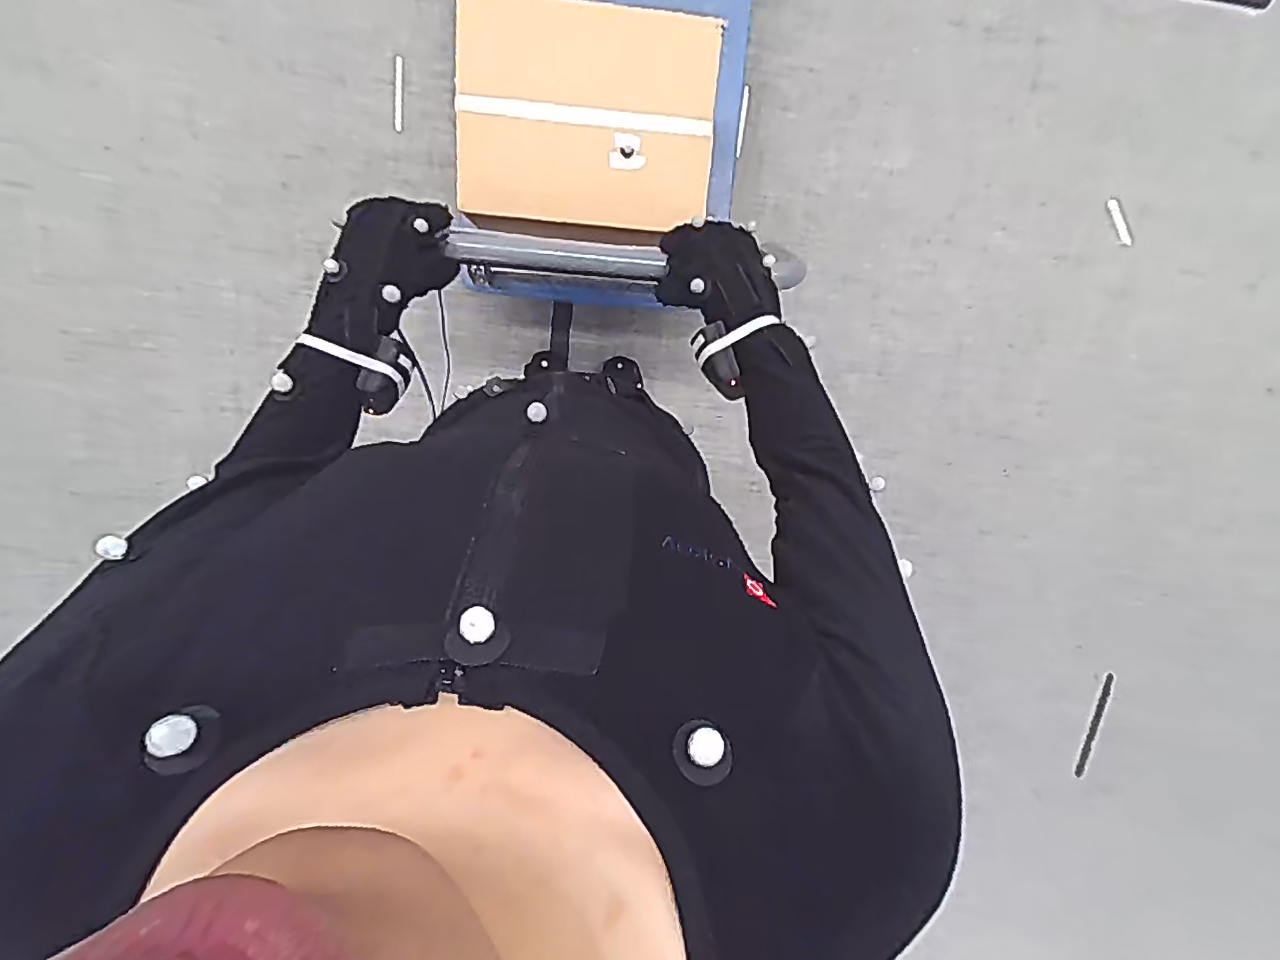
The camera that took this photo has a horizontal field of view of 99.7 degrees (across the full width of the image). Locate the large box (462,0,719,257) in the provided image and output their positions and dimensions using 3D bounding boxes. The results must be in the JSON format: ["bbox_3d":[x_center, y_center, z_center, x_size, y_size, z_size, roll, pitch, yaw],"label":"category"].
[{"bbox_3d":[-0.094,-0.618,1.011,0.408,0.320,0.320,3,104,-6],"label":"large box"}]
